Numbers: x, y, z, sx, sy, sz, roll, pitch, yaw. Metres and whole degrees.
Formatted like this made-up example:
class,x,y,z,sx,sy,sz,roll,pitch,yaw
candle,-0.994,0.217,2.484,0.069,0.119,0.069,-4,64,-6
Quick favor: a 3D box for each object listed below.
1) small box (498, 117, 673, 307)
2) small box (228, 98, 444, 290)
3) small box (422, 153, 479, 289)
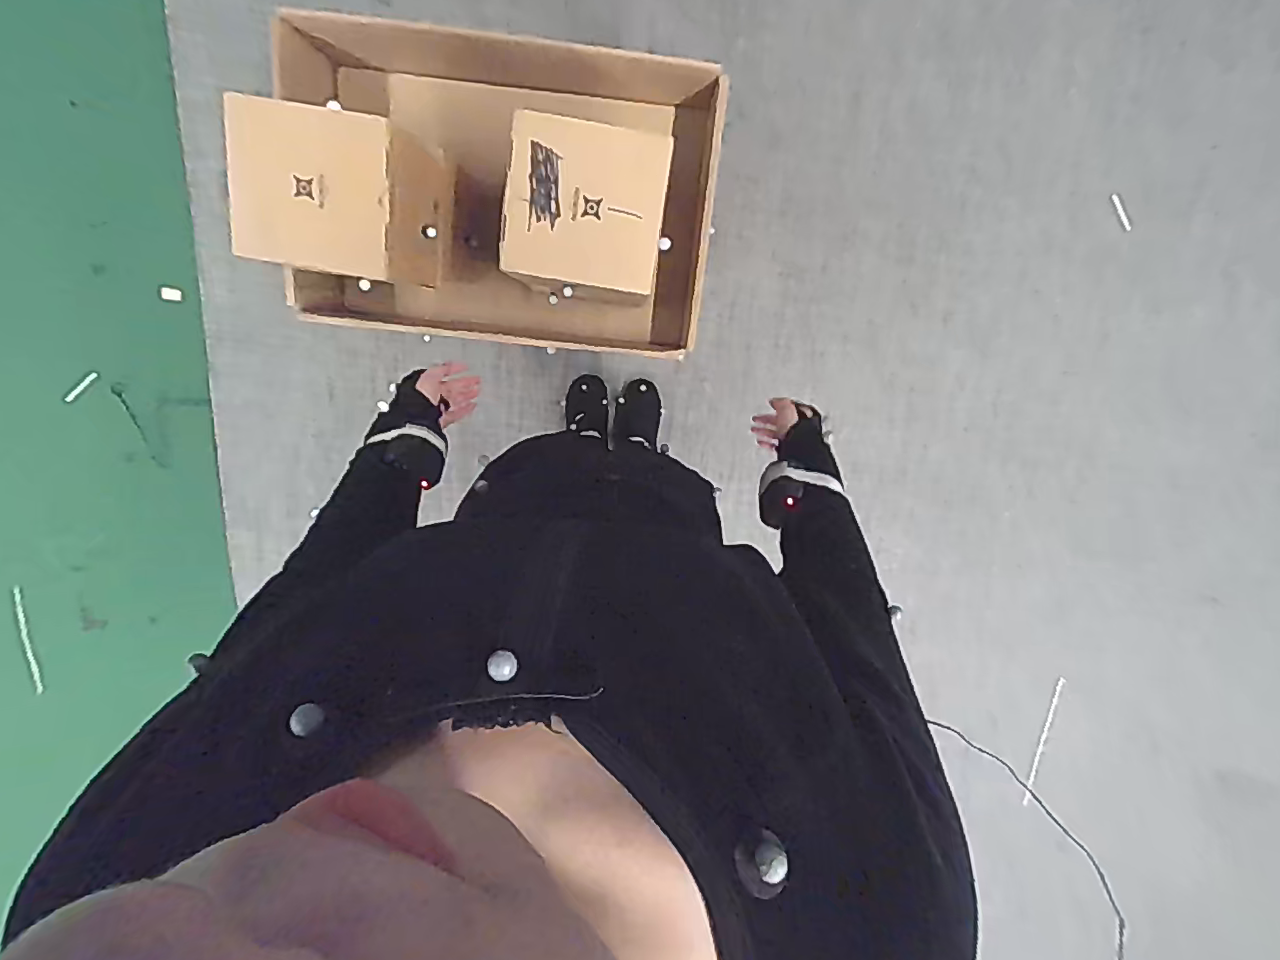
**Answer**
class,x,y,z,sx,sy,sz,roll,pitch,yaw
small box,-0.063,-0.316,0.676,0.179,0.176,0.168,9,104,-3
small box,-0.365,-0.338,0.674,0.179,0.176,0.168,8,105,-3
small box,-0.362,-0.394,0.828,0.179,0.176,0.168,8,105,-3
